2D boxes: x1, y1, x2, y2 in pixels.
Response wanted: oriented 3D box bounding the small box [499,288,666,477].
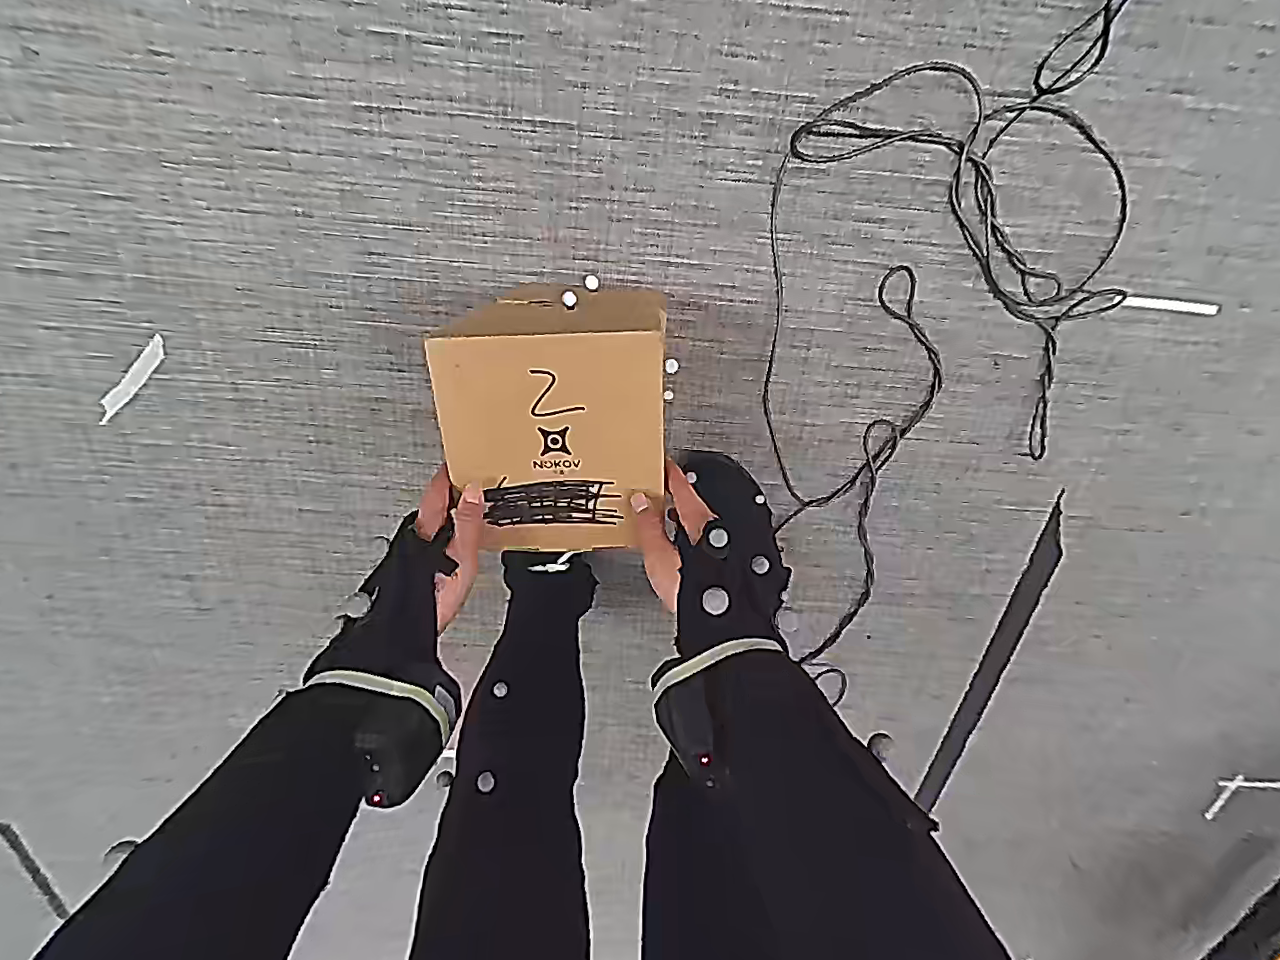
[{"bbox_3d":[-0.060,-0.119,0.629,0.168,0.176,0.179,2,115,-2],"label":"small box"}]
